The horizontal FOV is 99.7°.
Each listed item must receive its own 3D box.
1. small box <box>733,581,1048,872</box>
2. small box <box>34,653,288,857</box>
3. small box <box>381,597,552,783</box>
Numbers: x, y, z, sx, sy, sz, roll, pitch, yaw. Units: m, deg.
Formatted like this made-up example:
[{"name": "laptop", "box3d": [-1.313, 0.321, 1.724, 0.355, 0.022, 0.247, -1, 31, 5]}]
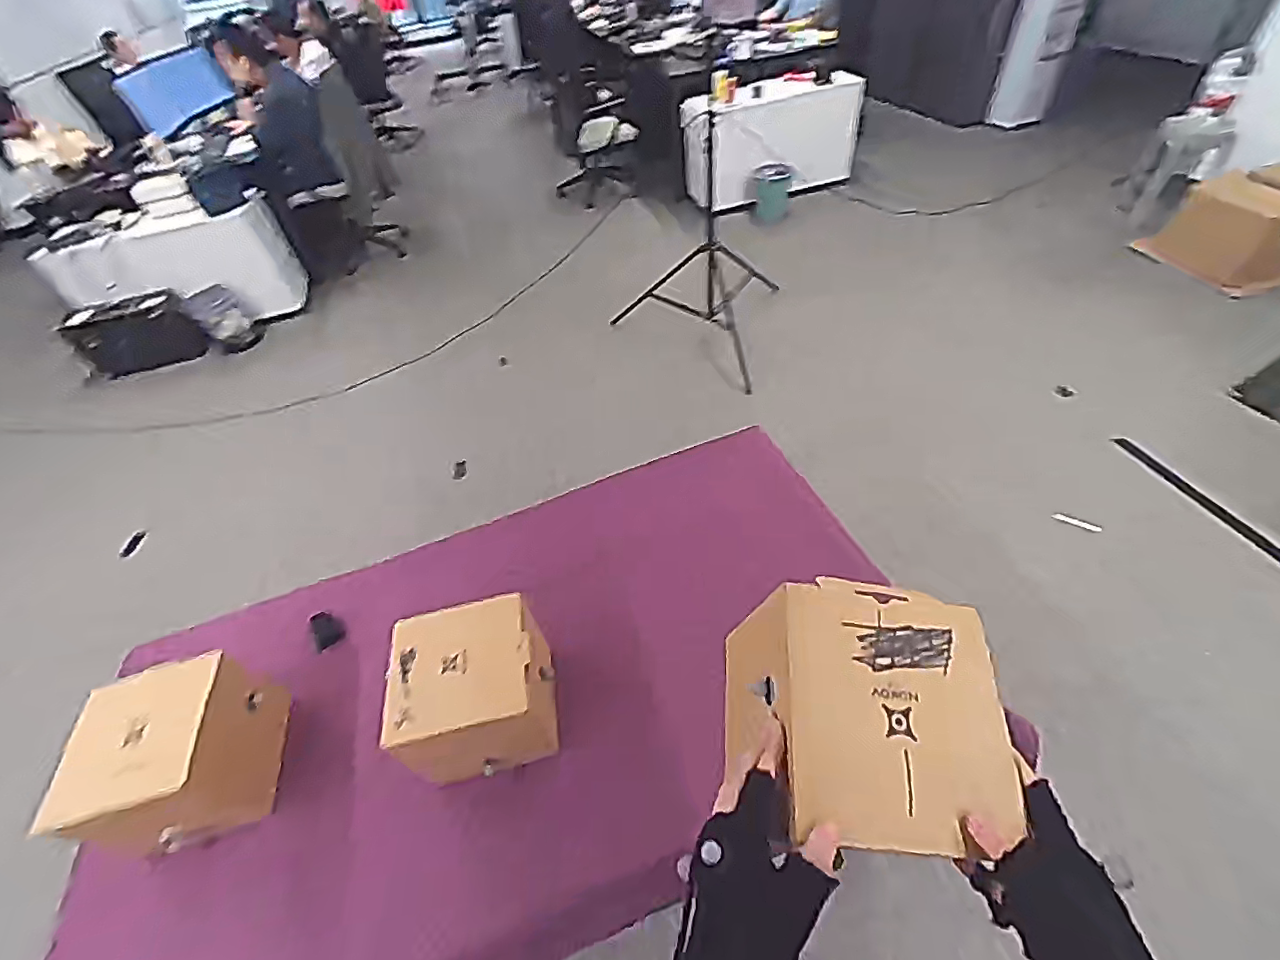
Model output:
[{"name": "small box", "box3d": [0.179, 0.206, 0.453, 0.168, 0.176, 0.179, 9, 58, -3]}, {"name": "small box", "box3d": [-0.604, 0.365, 0.717, 0.168, 0.176, 0.179, -16, 48, -6]}, {"name": "small box", "box3d": [-0.221, 0.286, 0.734, 0.179, 0.176, 0.168, -12, 47, -4]}]
